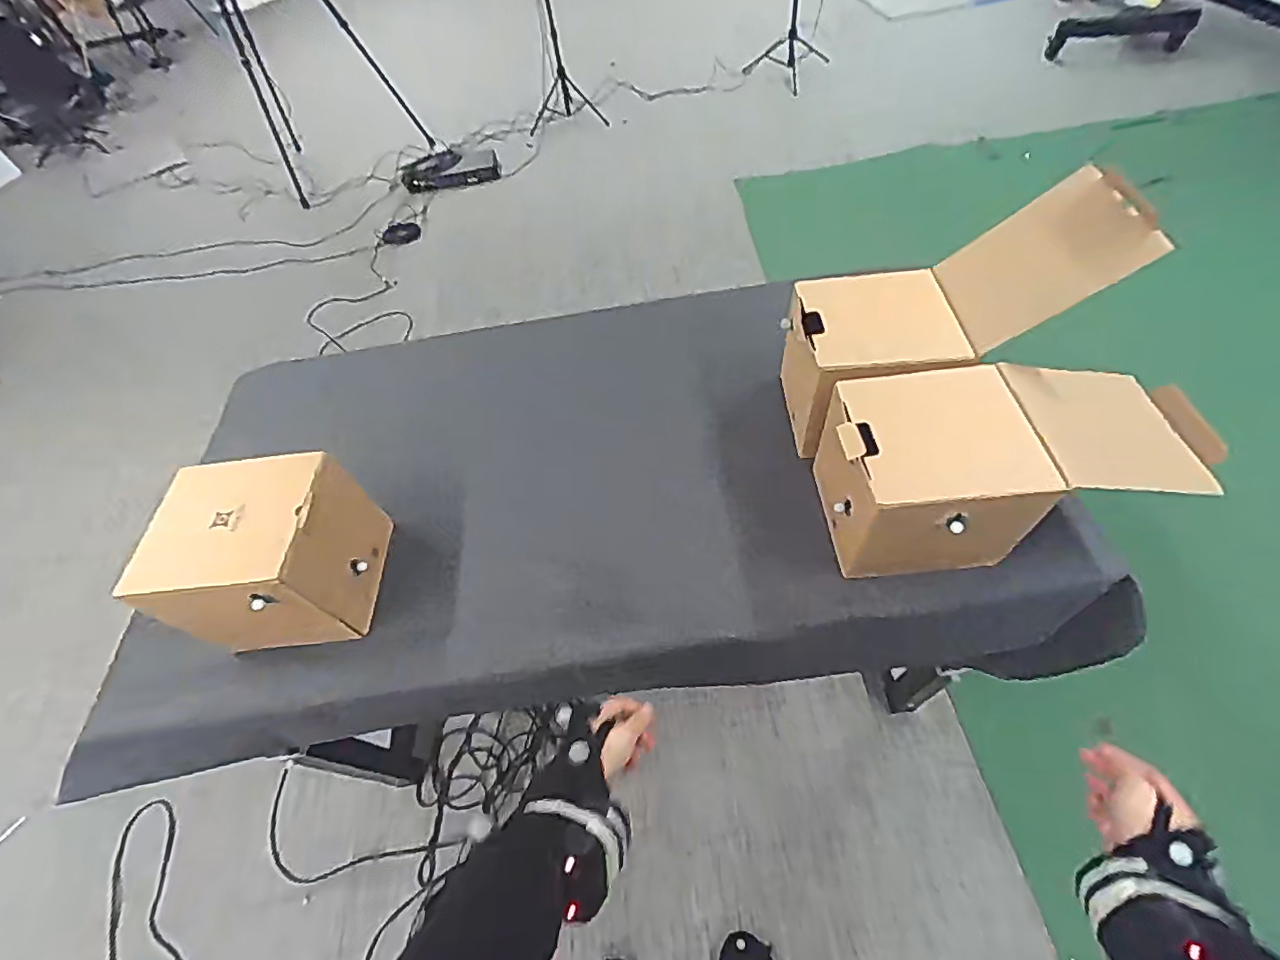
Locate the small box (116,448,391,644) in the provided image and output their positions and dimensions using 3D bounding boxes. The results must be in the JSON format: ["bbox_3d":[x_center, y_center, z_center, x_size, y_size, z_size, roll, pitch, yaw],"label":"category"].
[{"bbox_3d":[-0.433,0.085,0.644,0.179,0.176,0.168,-6,54,2],"label":"small box"}]
